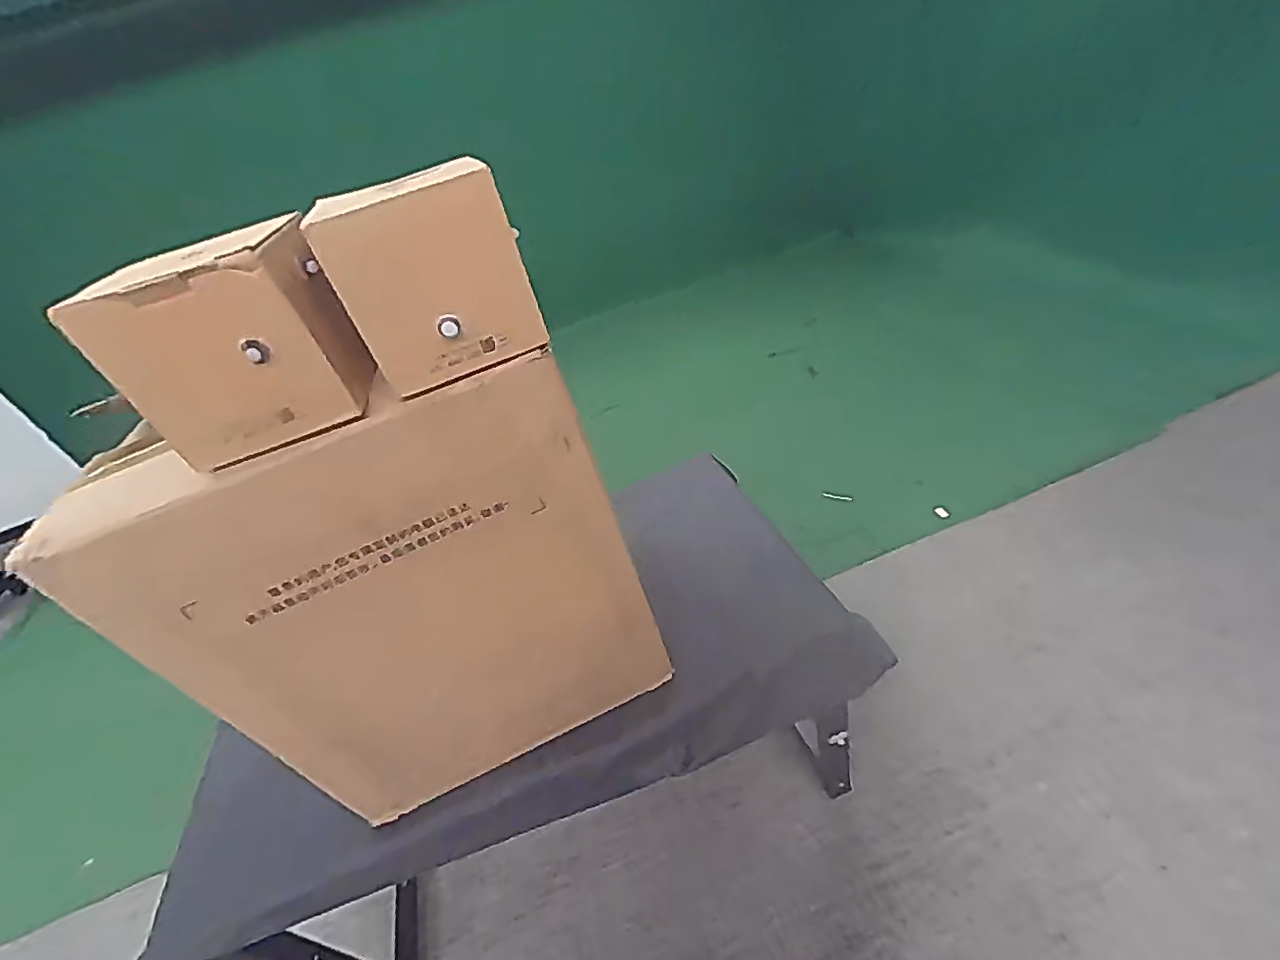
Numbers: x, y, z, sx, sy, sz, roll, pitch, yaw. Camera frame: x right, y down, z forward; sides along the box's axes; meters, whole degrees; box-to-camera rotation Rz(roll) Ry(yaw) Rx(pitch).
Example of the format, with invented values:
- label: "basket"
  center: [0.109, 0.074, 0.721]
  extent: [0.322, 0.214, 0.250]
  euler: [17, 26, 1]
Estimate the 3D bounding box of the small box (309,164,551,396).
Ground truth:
- label: "small box"
  center: [-0.210, -0.213, 0.570]
  extent: [0.168, 0.176, 0.179]
  euler: [-23, 39, -9]
